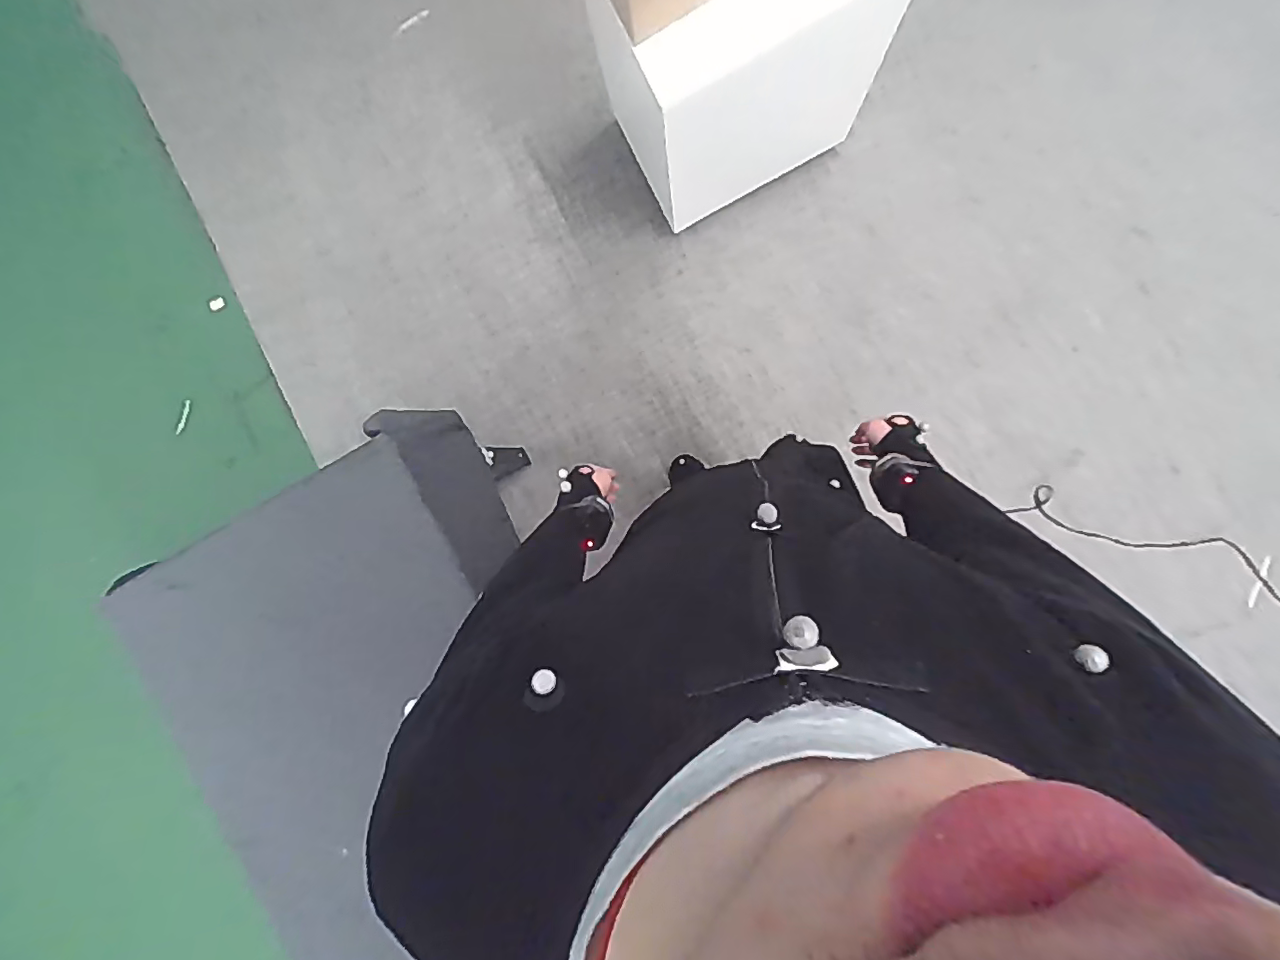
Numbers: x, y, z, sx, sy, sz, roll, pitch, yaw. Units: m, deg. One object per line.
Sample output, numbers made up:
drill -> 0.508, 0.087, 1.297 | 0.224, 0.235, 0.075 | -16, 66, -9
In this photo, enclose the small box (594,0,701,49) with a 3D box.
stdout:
small box -> 0.003, -0.843, 0.844 | 0.179, 0.176, 0.168 | -30, 88, 4
